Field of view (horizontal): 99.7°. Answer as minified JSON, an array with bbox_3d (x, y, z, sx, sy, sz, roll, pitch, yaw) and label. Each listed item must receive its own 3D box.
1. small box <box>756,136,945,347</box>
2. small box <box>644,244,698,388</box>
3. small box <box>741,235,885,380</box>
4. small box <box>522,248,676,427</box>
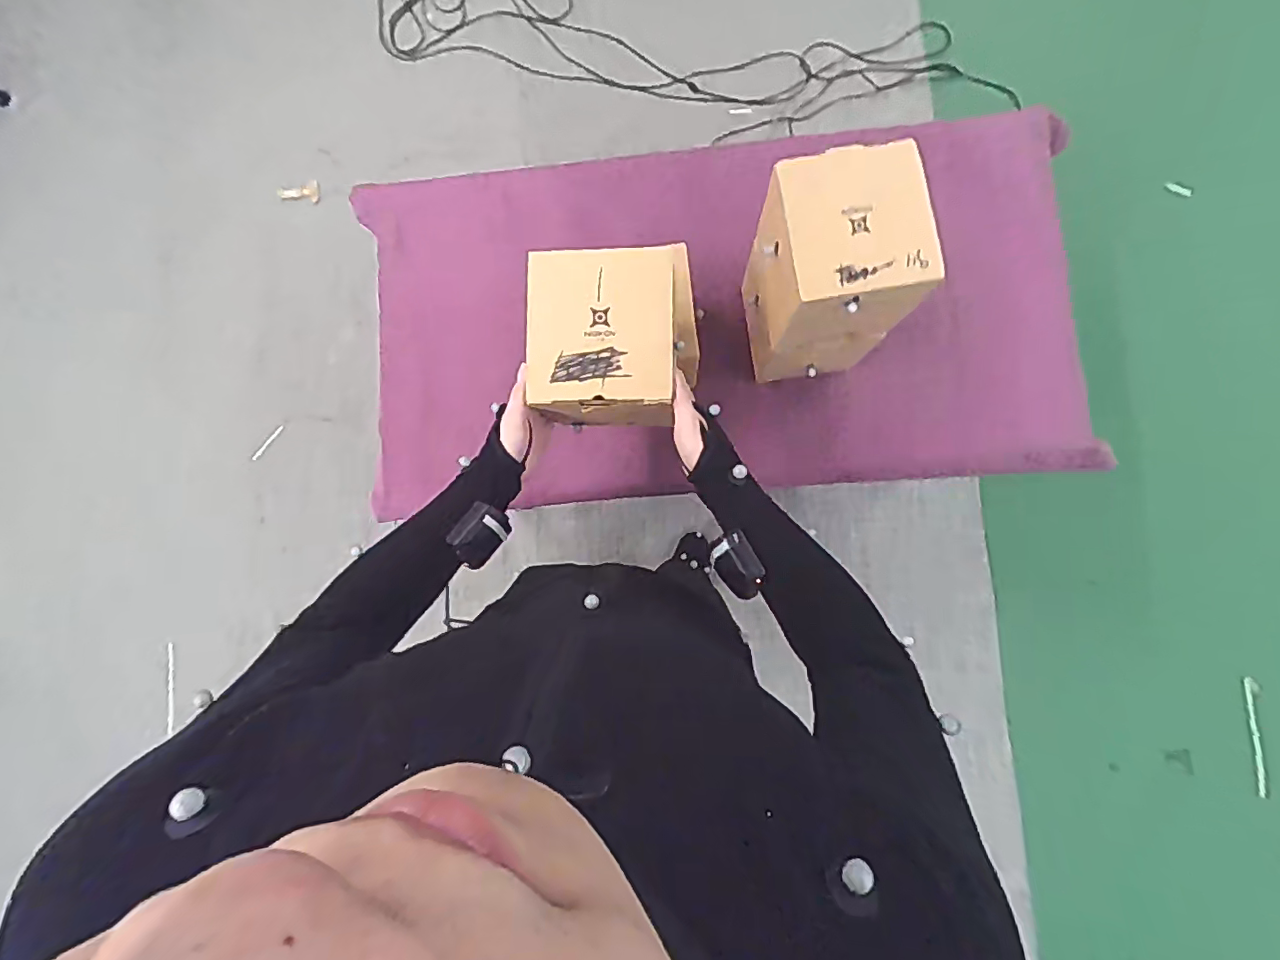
[{"bbox_3d":[0.253,-0.292,0.694,0.168,0.176,0.179,-9,83,3],"label":"small box"},{"bbox_3d":[-0.002,-0.249,0.872,0.168,0.176,0.179,-7,85,2],"label":"small box"},{"bbox_3d":[0.261,-0.275,0.858,0.168,0.176,0.179,-8,84,3],"label":"small box"},{"bbox_3d":[-0.040,-0.162,0.669,0.168,0.176,0.179,0,86,5],"label":"small box"}]
